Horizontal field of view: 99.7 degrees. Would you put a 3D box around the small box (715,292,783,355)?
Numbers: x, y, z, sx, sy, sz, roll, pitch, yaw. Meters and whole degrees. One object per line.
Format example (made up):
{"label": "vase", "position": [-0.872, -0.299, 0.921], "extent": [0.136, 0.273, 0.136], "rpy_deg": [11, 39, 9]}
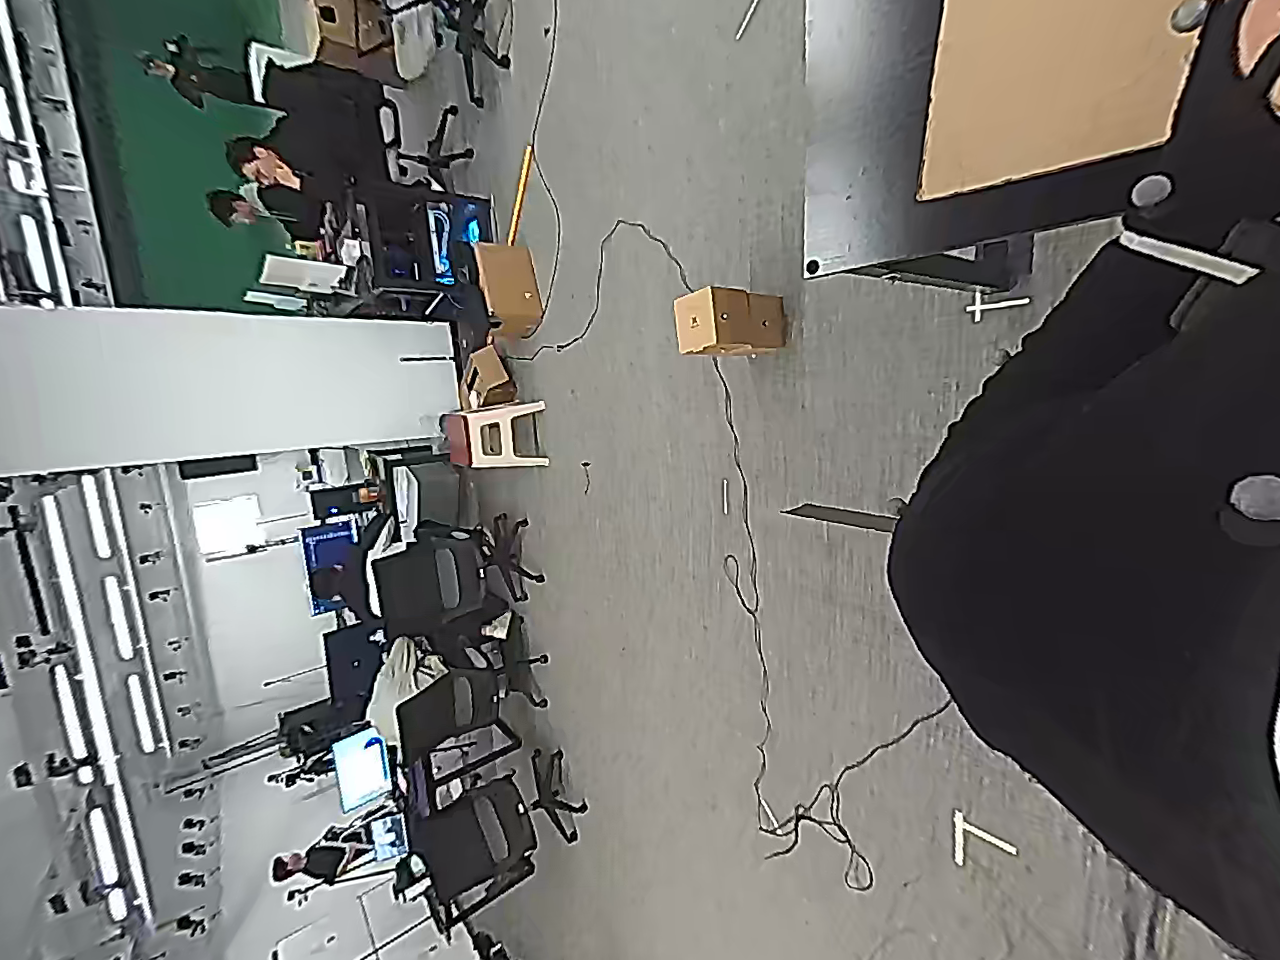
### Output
{"label": "small box", "position": [0.360, -0.517, 1.811], "extent": [0.168, 0.176, 0.179], "rpy_deg": [4, 102, 52]}

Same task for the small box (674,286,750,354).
{"label": "small box", "position": [0.231, -0.500, 1.712], "extent": [0.168, 0.176, 0.179], "rpy_deg": [-2, 96, 51]}
